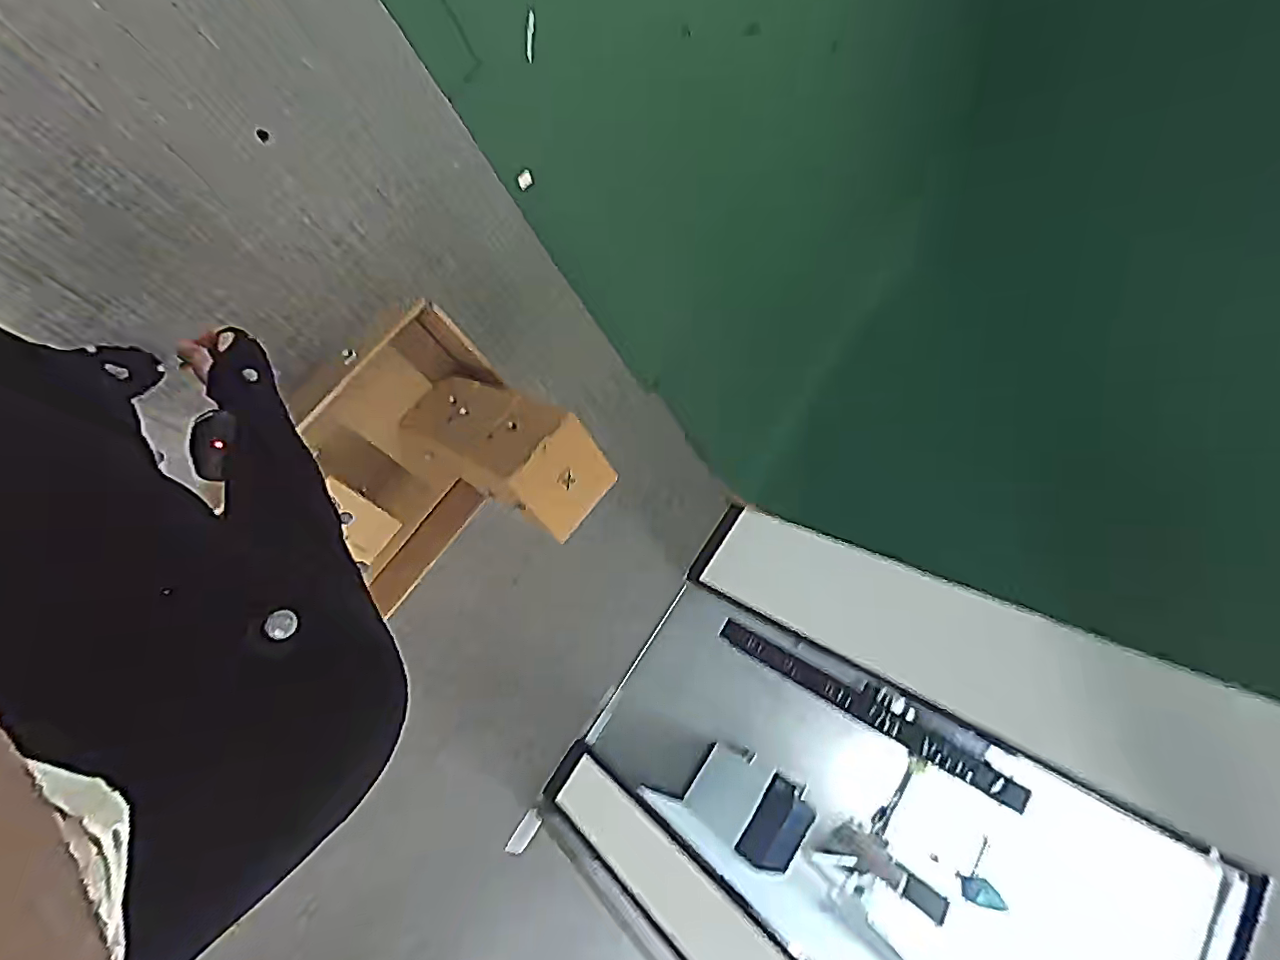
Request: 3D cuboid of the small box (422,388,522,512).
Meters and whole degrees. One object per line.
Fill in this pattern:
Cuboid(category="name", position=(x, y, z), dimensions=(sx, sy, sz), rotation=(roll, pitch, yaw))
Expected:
Cuboid(category="small box", position=(-0.305, -0.068, 1.110), dimensions=(0.168, 0.176, 0.179), rotation=(-51, 134, -19))

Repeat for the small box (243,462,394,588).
Cuboid(category="small box", position=(-0.638, 0.081, 1.070), dimensions=(0.168, 0.176, 0.179), rotation=(-54, 136, -15))

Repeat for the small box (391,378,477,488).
Cuboid(category="small box", position=(-0.417, -0.111, 1.220), dimensions=(0.168, 0.176, 0.179), rotation=(-54, 135, -18))

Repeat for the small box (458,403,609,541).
Cuboid(category="small box", position=(-0.196, -0.022, 1.000), dimensions=(0.168, 0.176, 0.179), rotation=(-50, 133, -20))
